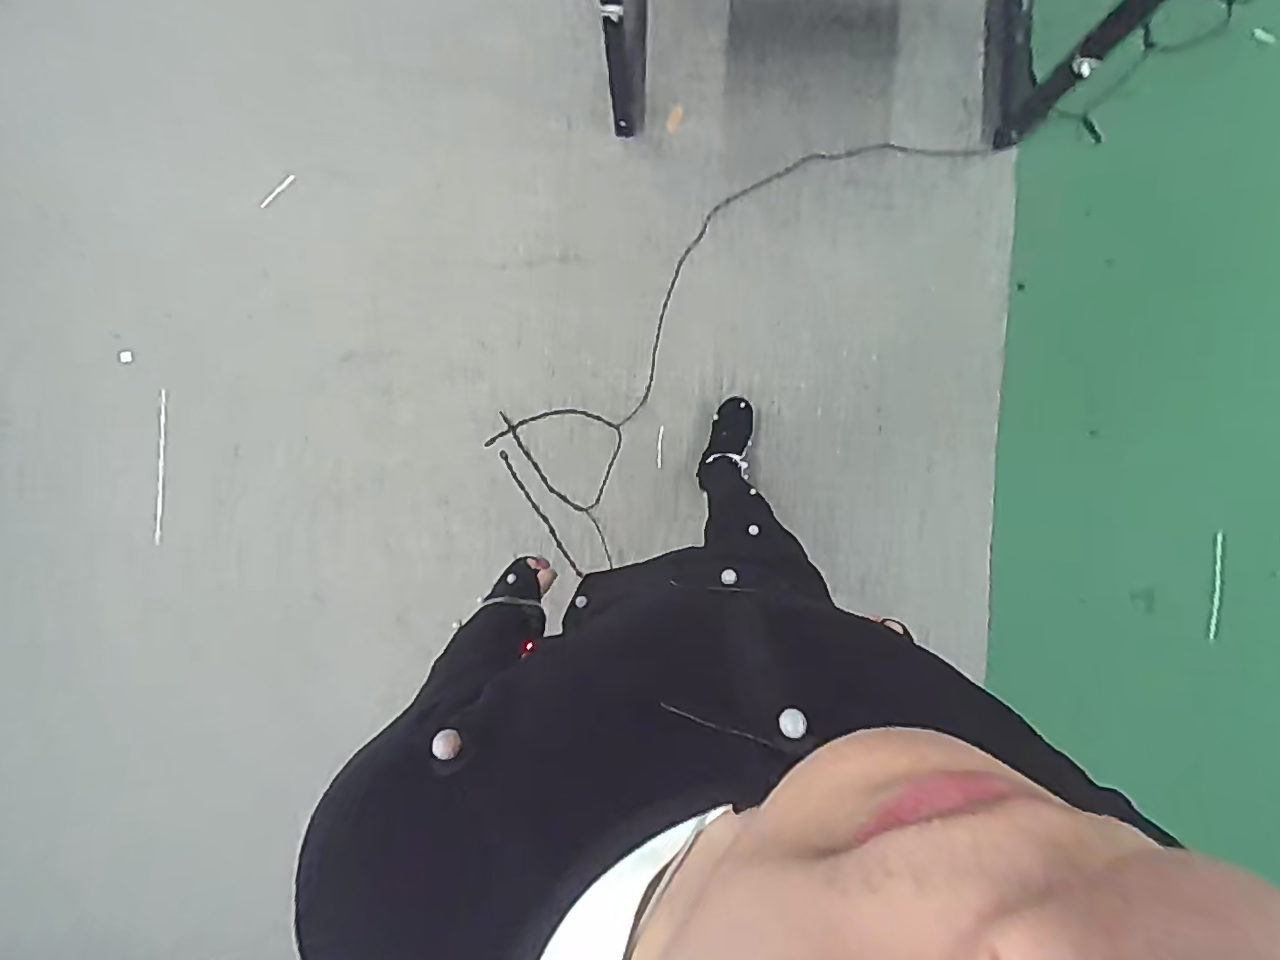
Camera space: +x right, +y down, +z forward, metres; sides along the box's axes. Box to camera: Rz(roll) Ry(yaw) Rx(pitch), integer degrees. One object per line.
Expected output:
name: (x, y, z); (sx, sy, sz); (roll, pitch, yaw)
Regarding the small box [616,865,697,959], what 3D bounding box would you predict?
small box: (0.044, 1.242, 1.523); (0.168, 0.176, 0.179); (26, 91, 1)
